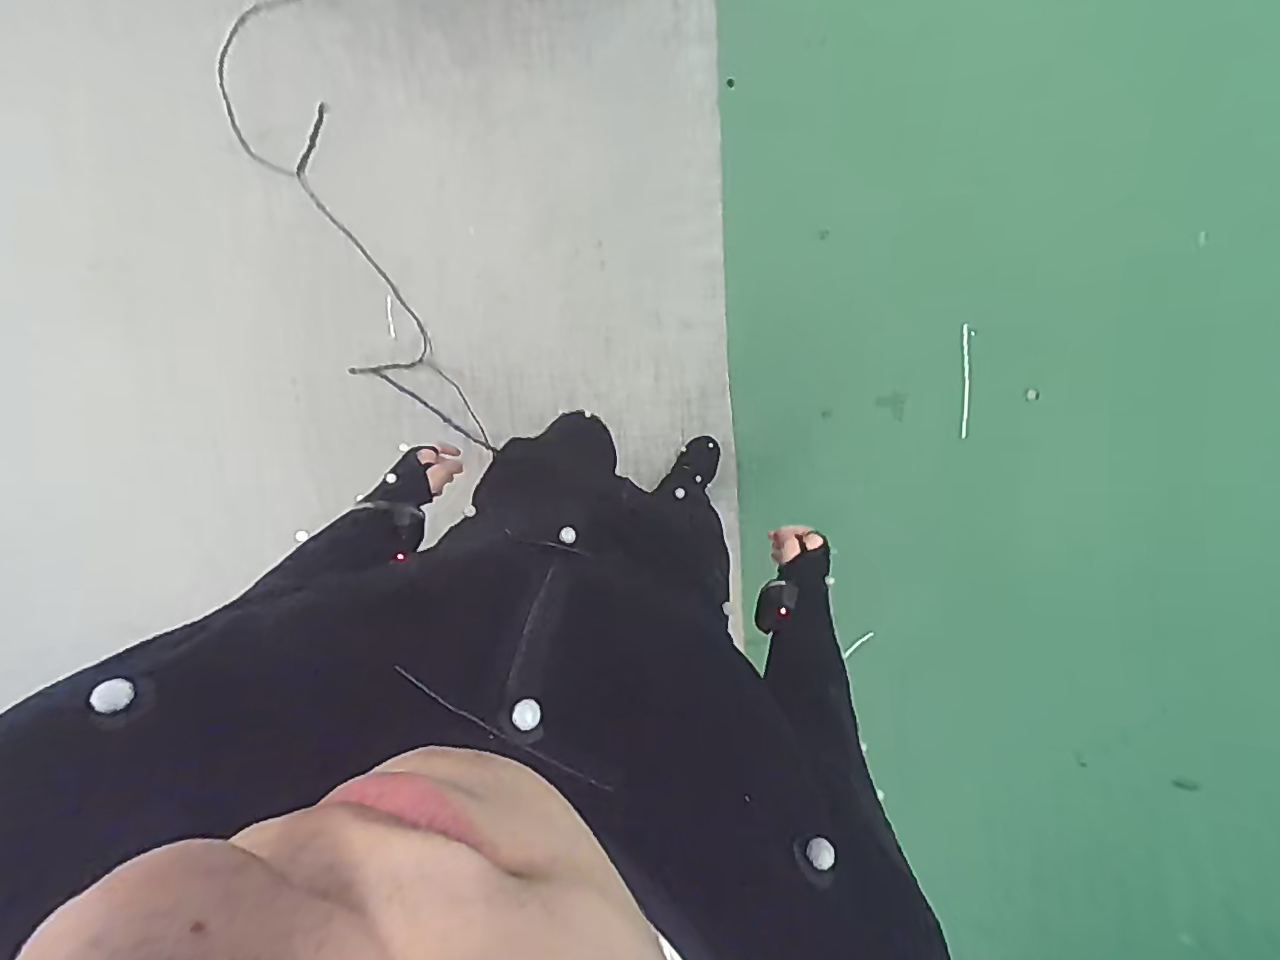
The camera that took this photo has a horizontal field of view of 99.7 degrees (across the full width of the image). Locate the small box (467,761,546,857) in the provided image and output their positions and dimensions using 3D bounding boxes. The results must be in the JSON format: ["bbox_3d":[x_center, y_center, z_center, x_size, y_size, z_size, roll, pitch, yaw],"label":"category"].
[{"bbox_3d":[-0.368,0.913,1.514,0.168,0.176,0.179,-3,97,5],"label":"small box"}]

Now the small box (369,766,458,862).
[{"bbox_3d":[-0.636,0.940,1.536,0.179,0.176,0.168,0,98,4],"label":"small box"}]

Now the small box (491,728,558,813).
[{"bbox_3d":[-0.353,0.893,1.673,0.168,0.176,0.179,-1,97,5],"label":"small box"}]
